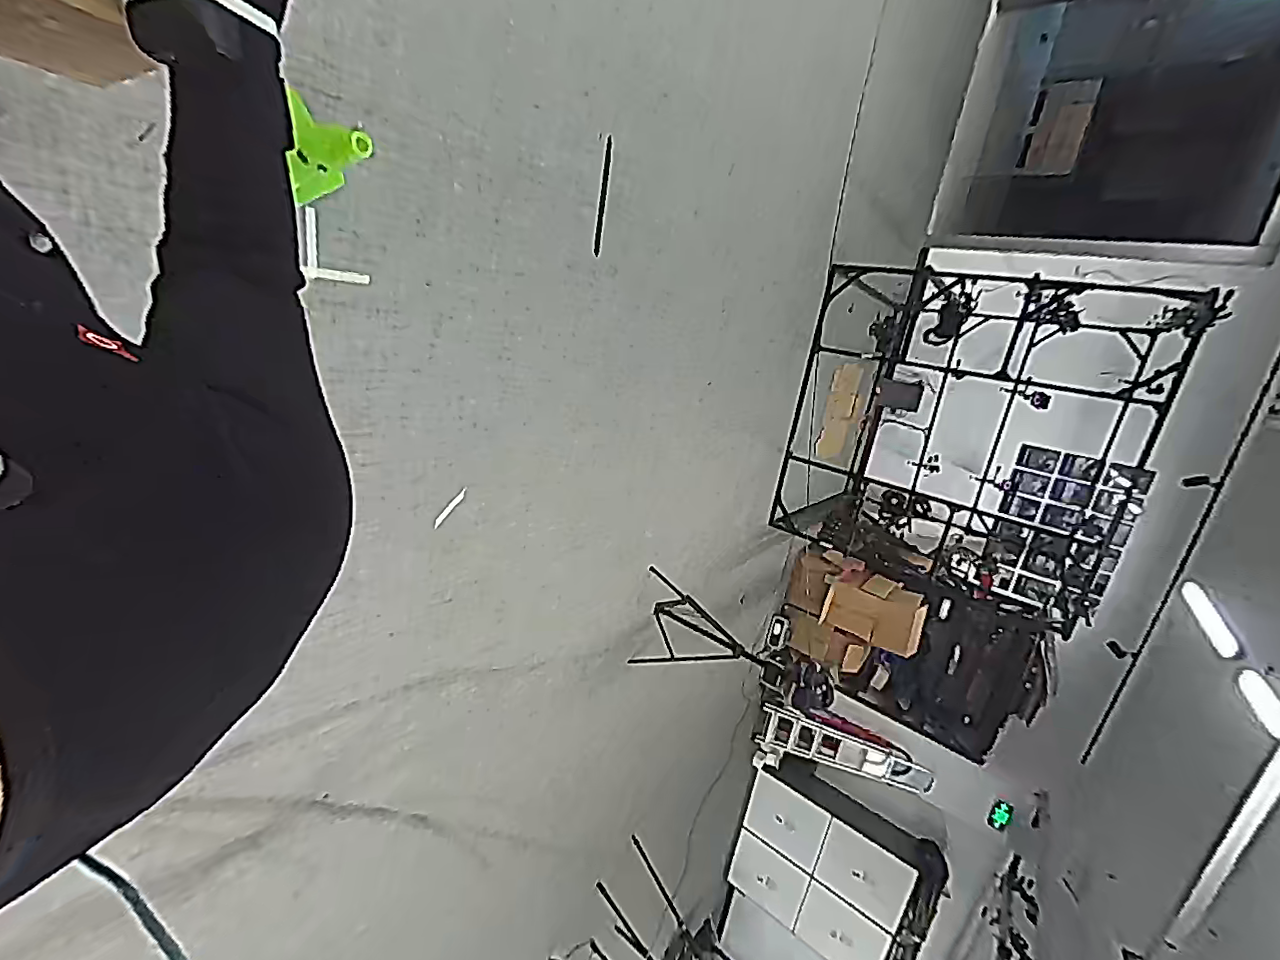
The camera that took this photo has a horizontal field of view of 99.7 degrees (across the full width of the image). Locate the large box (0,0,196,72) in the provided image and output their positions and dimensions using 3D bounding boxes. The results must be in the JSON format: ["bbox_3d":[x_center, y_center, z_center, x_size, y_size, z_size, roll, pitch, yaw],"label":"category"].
[{"bbox_3d":[-0.523,-0.480,0.266,0.408,0.320,0.320,-10,117,-53],"label":"large box"}]

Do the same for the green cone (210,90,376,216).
[{"bbox_3d":[-0.653,-0.667,1.096,0.202,0.368,0.200,-51,143,-29],"label":"green cone"}]
